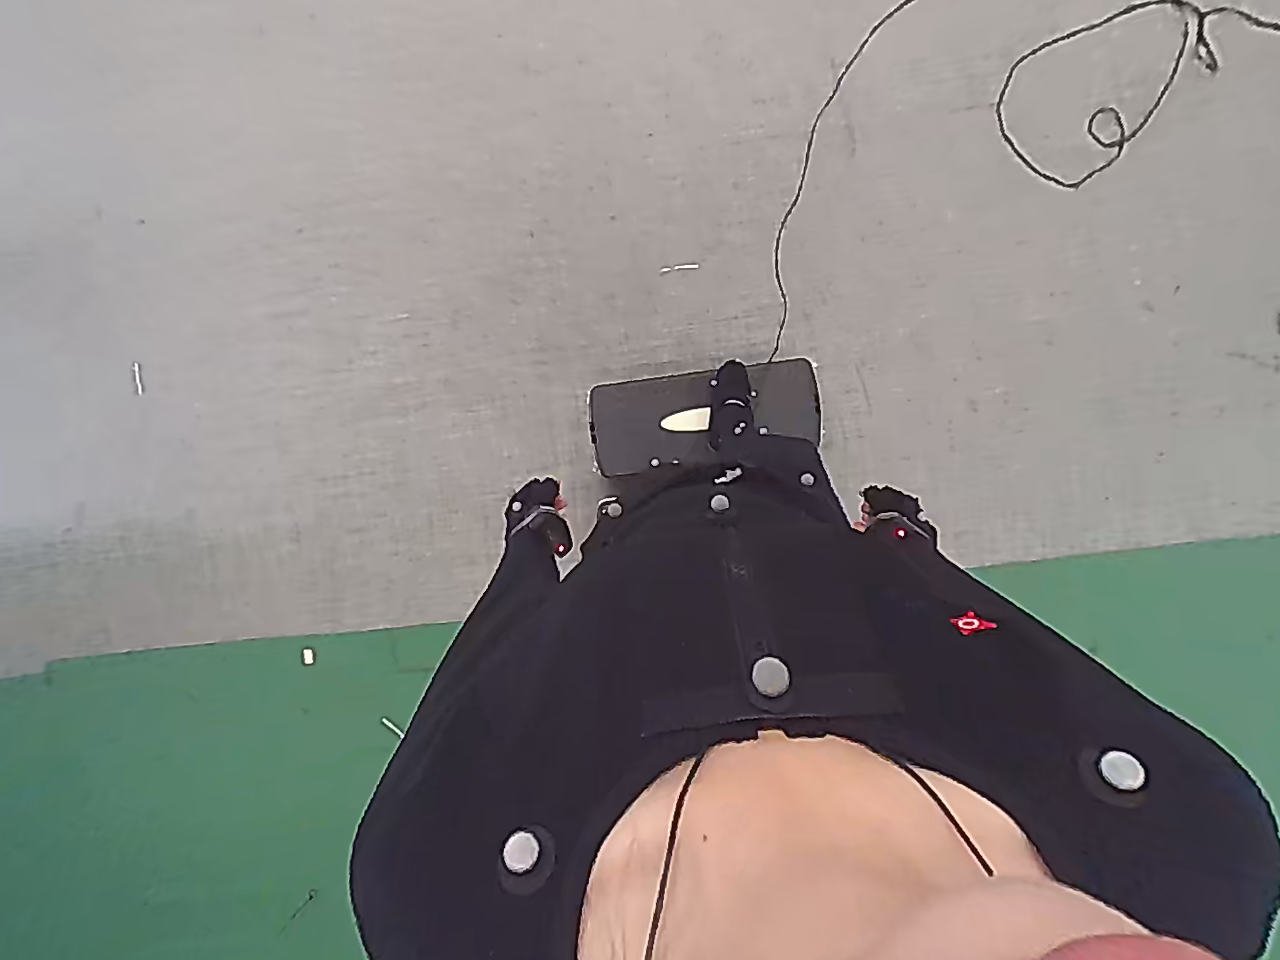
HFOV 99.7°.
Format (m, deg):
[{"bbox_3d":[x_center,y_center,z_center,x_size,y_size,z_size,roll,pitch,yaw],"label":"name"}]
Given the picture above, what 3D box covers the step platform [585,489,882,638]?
[{"bbox_3d":[0.215,0.198,1.344,0.684,0.204,0.286,-7,92,2],"label":"step platform"}]
